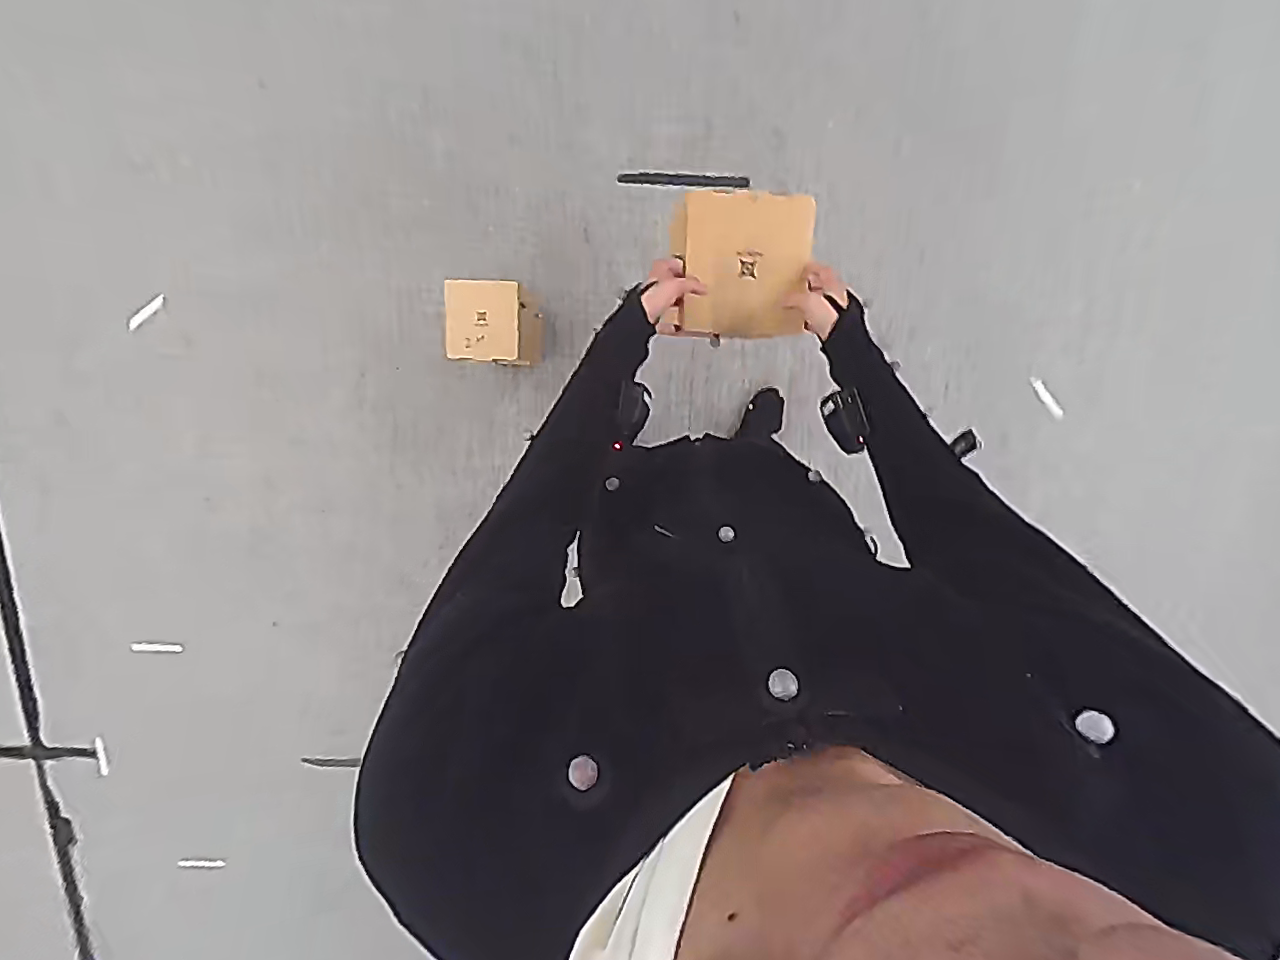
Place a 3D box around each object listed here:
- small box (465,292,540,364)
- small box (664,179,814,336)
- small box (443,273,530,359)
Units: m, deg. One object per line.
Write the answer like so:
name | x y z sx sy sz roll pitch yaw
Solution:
small box | -0.365 -0.406 1.450 0.168 0.176 0.179 3 101 -1
small box | 0.128 -0.299 0.765 0.168 0.176 0.179 1 101 -6
small box | -0.360 -0.383 1.287 0.168 0.176 0.179 2 102 -1
